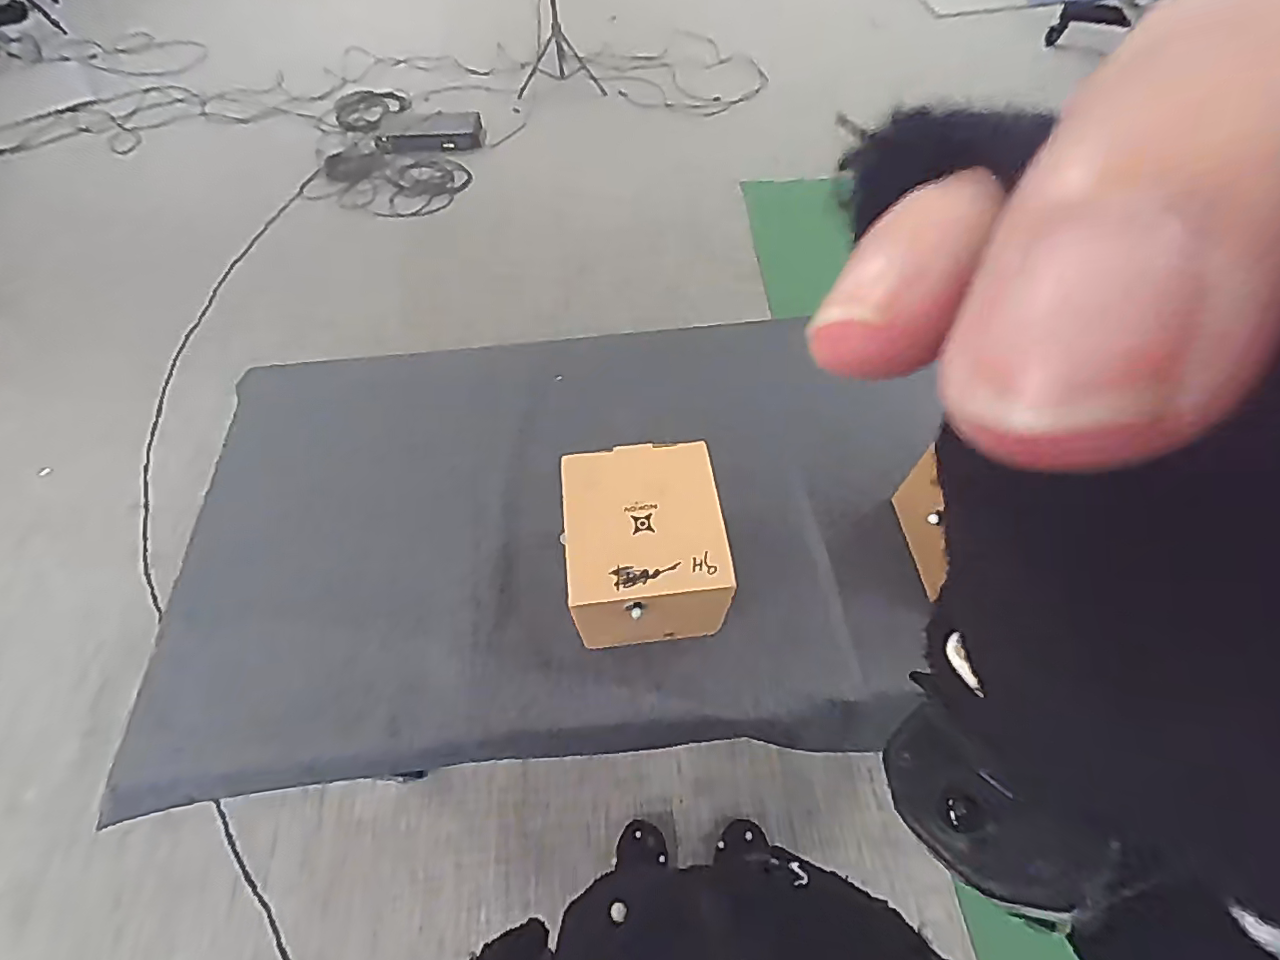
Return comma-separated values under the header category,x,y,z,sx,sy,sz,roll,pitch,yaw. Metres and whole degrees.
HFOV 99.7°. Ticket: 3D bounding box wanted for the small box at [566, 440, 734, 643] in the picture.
category,x,y,z,sx,sy,sz,roll,pitch,yaw
small box,0.005,0.076,0.639,0.168,0.176,0.179,-6,59,-2
